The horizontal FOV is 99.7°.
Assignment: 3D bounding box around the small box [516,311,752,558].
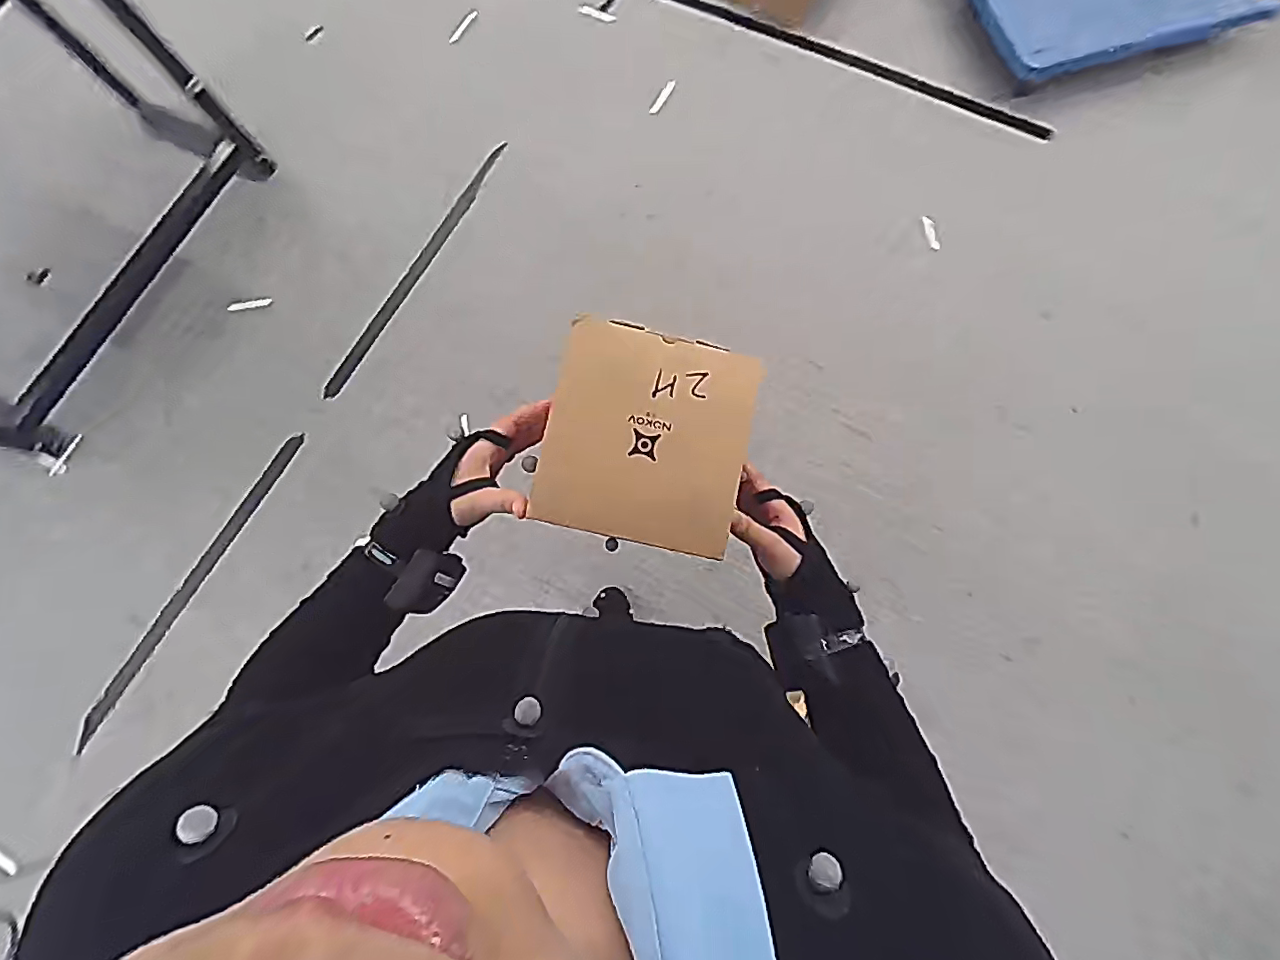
[{"bbox_3d":[-0.009,-0.031,0.518,0.168,0.176,0.179,12,84,-4],"label":"small box"}]
